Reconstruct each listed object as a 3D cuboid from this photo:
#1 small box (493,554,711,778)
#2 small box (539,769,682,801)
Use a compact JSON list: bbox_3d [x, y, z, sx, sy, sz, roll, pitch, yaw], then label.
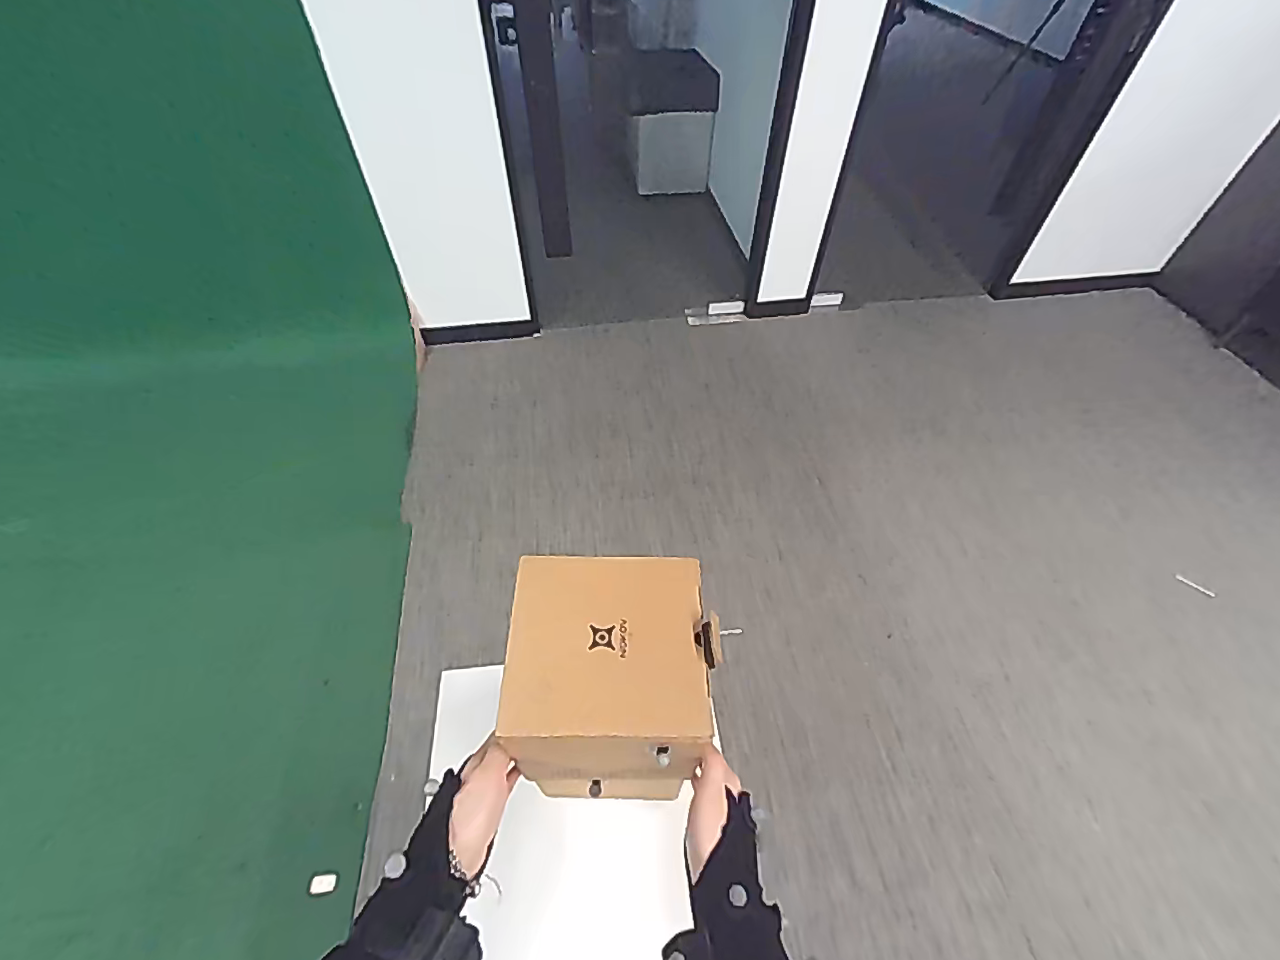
[{"bbox_3d":[-0.033,0.189,0.537,0.179,0.176,0.168,2,51,-3],"label":"small box"},{"bbox_3d":[-0.037,0.303,0.693,0.179,0.176,0.168,1,50,0],"label":"small box"}]
